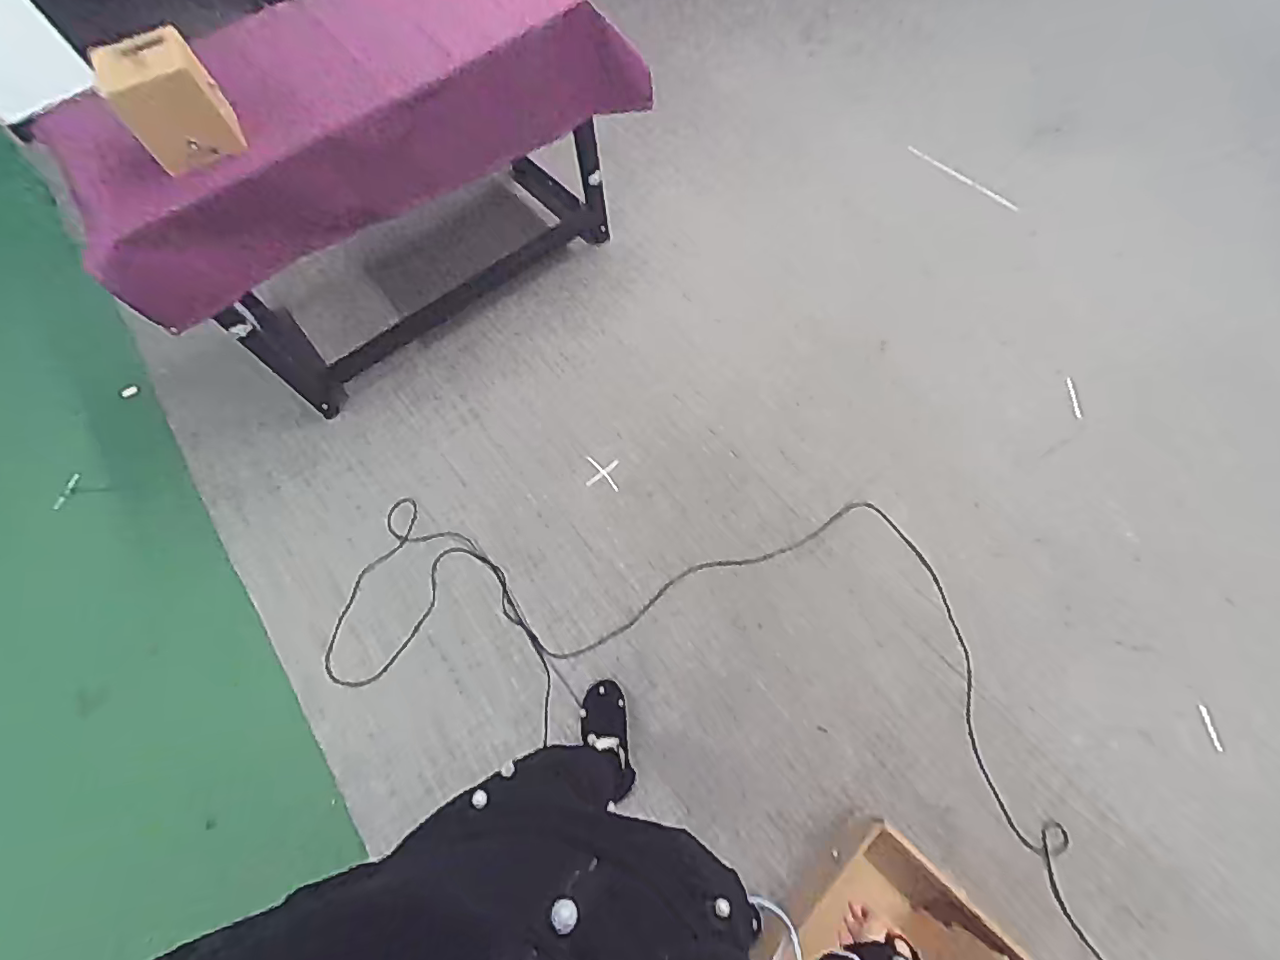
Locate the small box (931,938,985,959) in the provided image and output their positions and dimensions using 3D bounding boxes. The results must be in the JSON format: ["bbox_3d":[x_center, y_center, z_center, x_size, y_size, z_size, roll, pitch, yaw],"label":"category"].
[{"bbox_3d":[0.521,0.854,0.818,0.179,0.176,0.168,-40,66,-13],"label":"small box"}]
